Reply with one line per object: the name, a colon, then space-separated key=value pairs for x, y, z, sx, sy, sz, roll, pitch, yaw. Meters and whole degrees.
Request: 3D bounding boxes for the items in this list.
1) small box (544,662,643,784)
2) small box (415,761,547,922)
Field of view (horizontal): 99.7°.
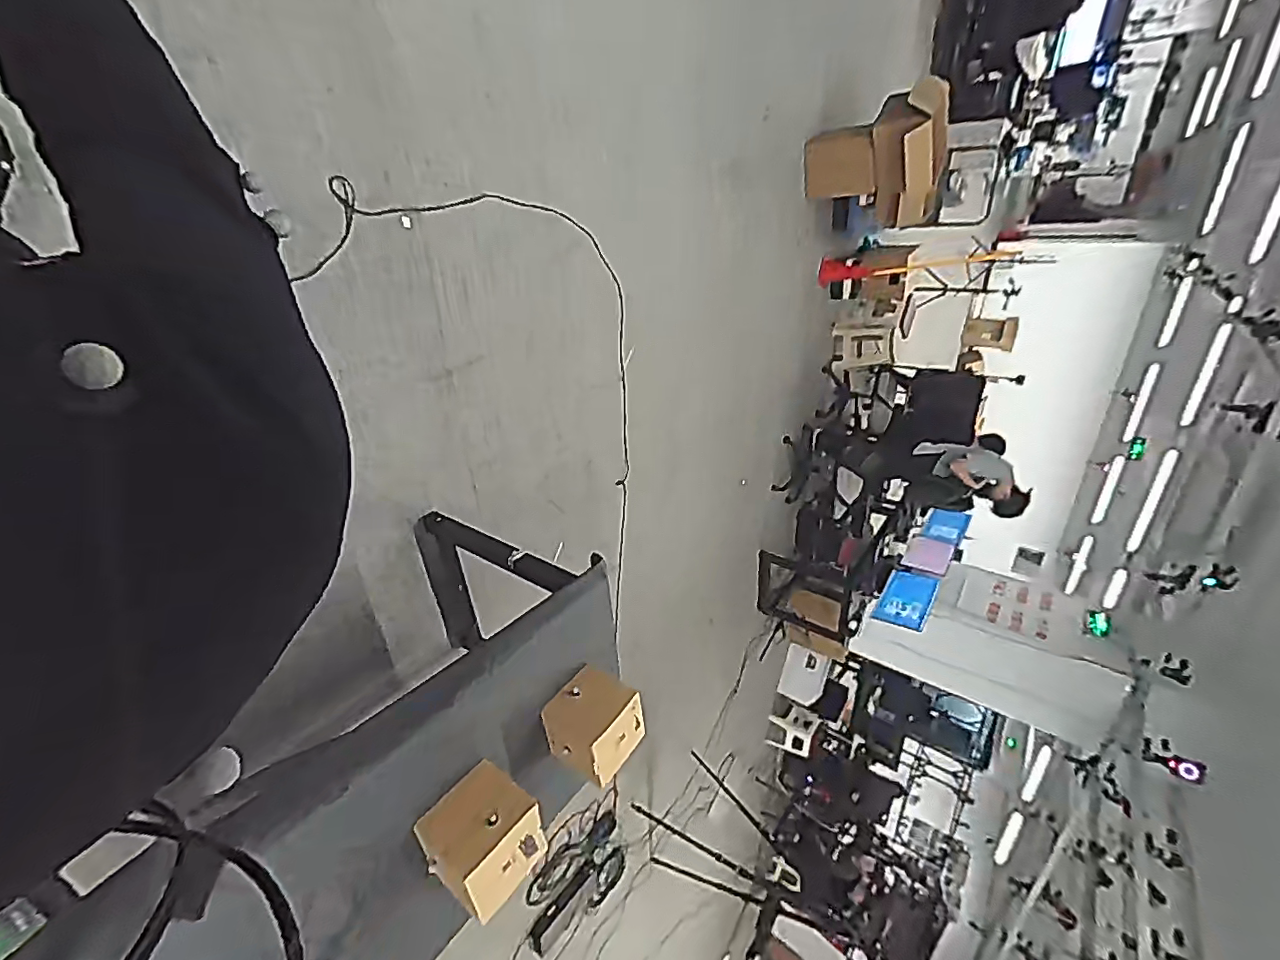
small box: x=-0.118 y=0.590 z=1.331 sx=0.179 sy=0.176 sz=0.168 roll=-37 pitch=132 yaw=-41
small box: x=-0.318 y=0.718 z=1.096 sx=0.179 sy=0.176 sz=0.168 roll=-34 pitch=130 yaw=-43
